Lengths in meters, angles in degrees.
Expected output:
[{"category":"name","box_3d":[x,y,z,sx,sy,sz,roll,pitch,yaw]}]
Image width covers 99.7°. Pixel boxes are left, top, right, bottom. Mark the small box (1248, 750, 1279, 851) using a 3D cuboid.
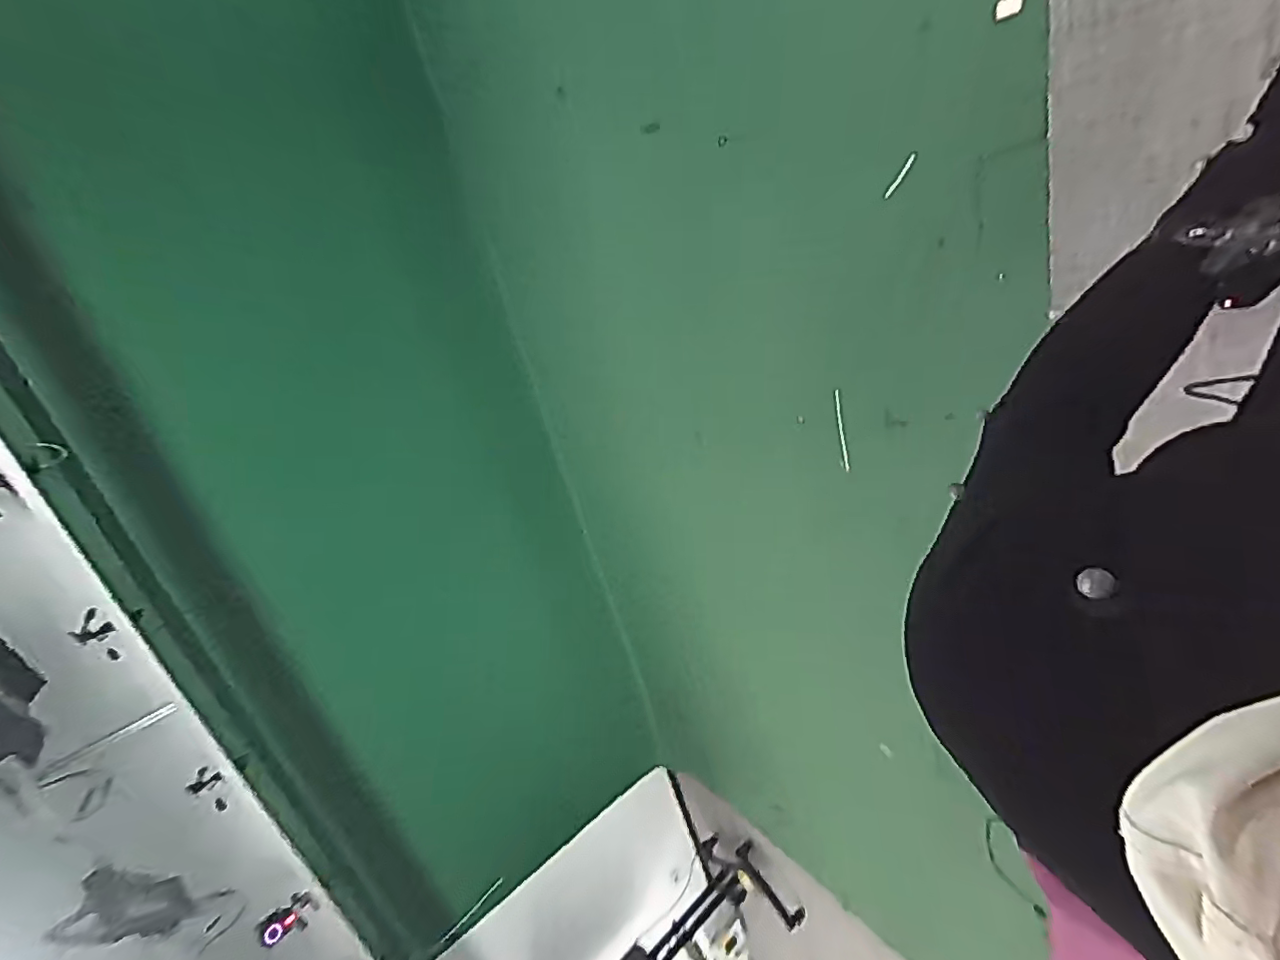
[{"category":"small box","box_3d":[1.587,0.781,1.272,0.179,0.176,0.168,14,126,53]}]
